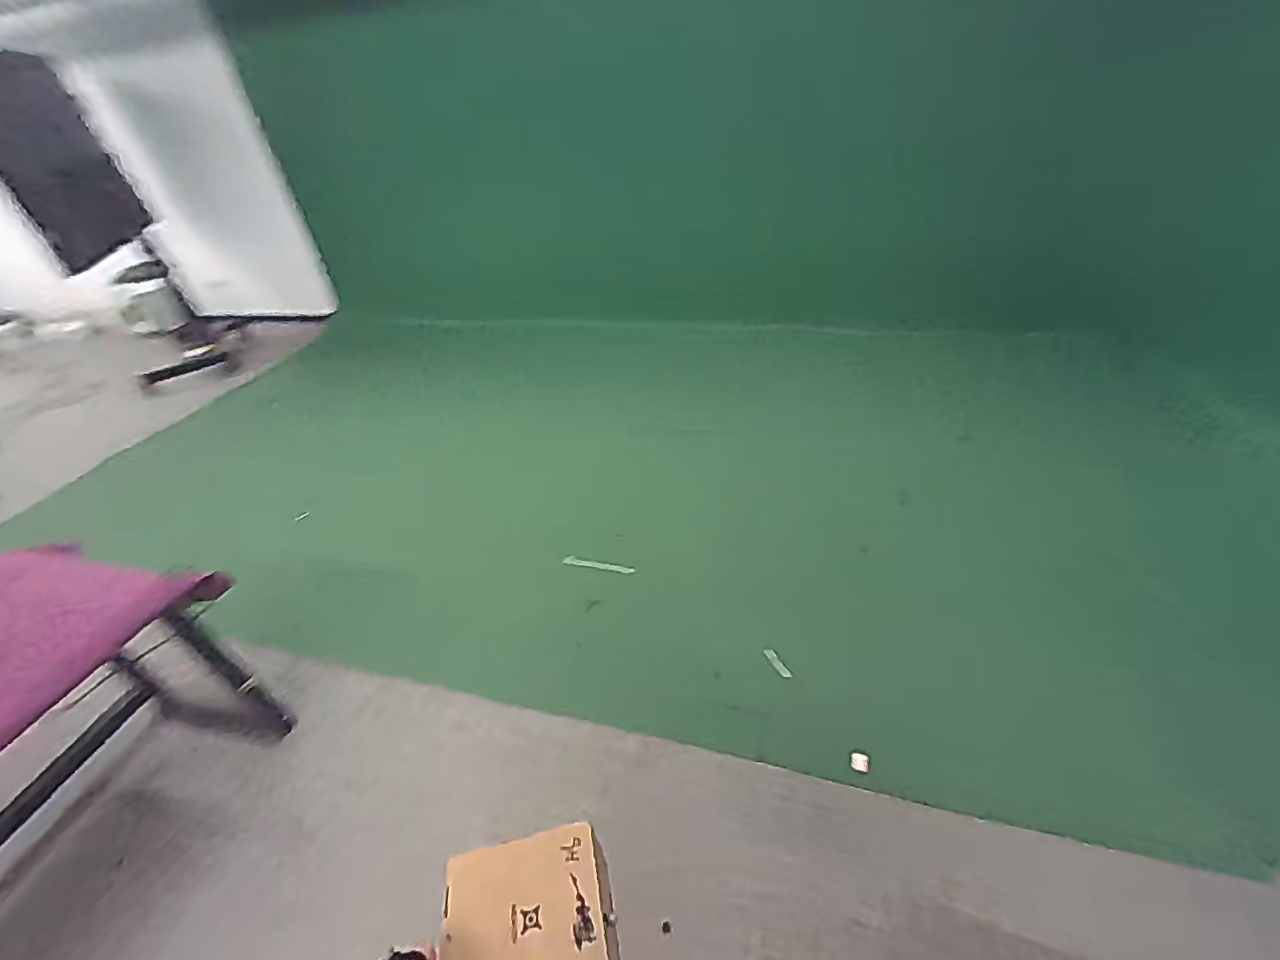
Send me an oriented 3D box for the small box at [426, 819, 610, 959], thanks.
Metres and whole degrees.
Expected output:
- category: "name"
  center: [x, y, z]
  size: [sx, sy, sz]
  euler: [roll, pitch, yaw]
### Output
- category: "small box"
  center: [-0.136, 0.538, 0.636]
  size: [0.179, 0.176, 0.168]
  euler: [-12, 41, -7]
